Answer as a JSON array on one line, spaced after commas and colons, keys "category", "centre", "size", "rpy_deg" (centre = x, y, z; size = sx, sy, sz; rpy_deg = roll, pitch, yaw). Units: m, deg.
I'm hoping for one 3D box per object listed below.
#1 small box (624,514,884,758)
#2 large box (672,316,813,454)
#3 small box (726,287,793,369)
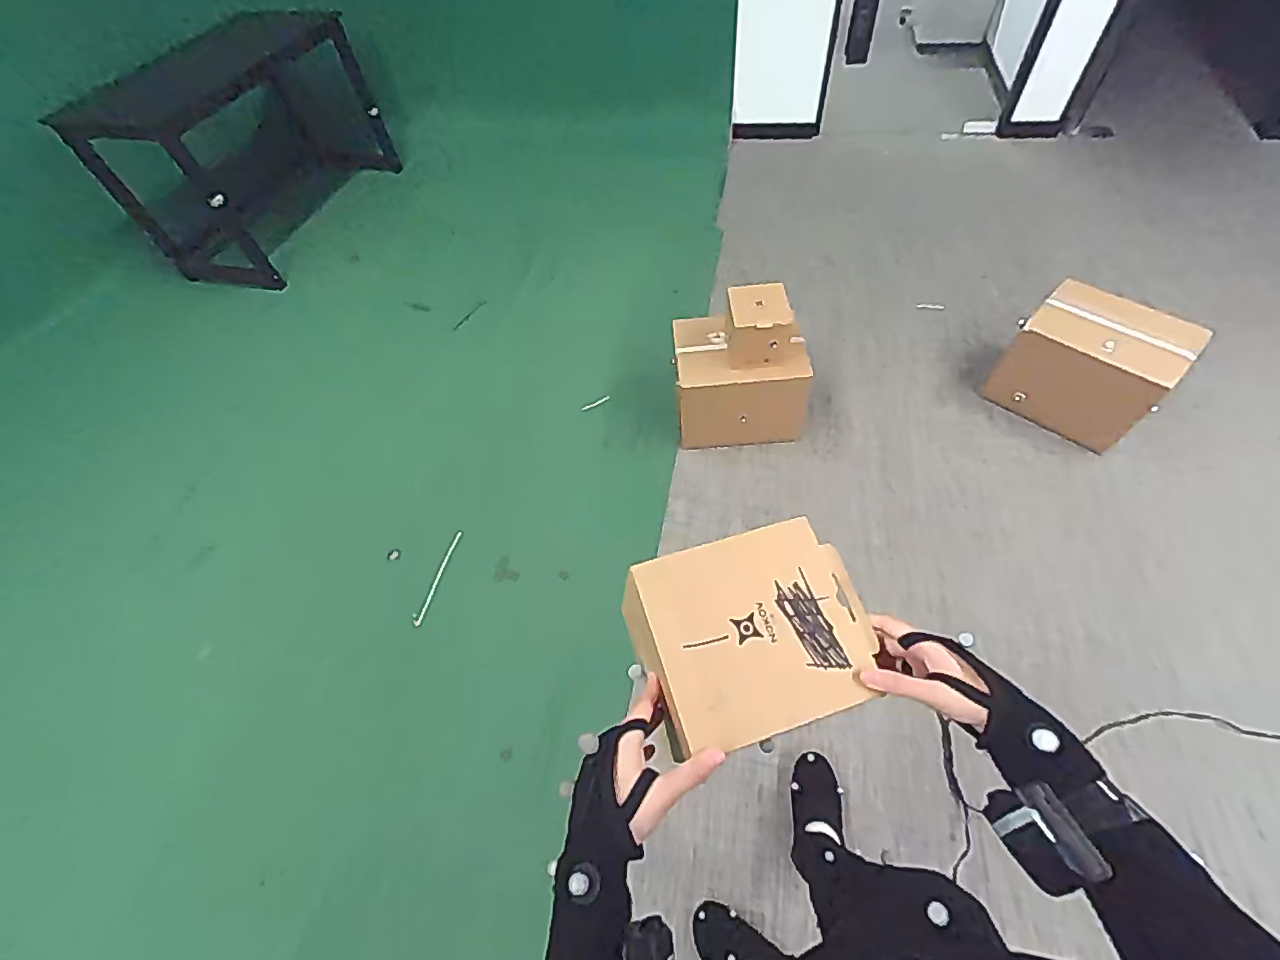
[{"category": "small box", "centre": [0.090, 0.156, 0.528], "size": [0.179, 0.176, 0.168], "rpy_deg": [-14, 65, -11]}, {"category": "large box", "centre": [0.329, -0.314, 1.822], "size": [0.408, 0.320, 0.320], "rpy_deg": [-5, 54, 4]}, {"category": "small box", "centre": [0.350, -0.447, 1.611], "size": [0.168, 0.176, 0.179], "rpy_deg": [-4, 56, 3]}]
